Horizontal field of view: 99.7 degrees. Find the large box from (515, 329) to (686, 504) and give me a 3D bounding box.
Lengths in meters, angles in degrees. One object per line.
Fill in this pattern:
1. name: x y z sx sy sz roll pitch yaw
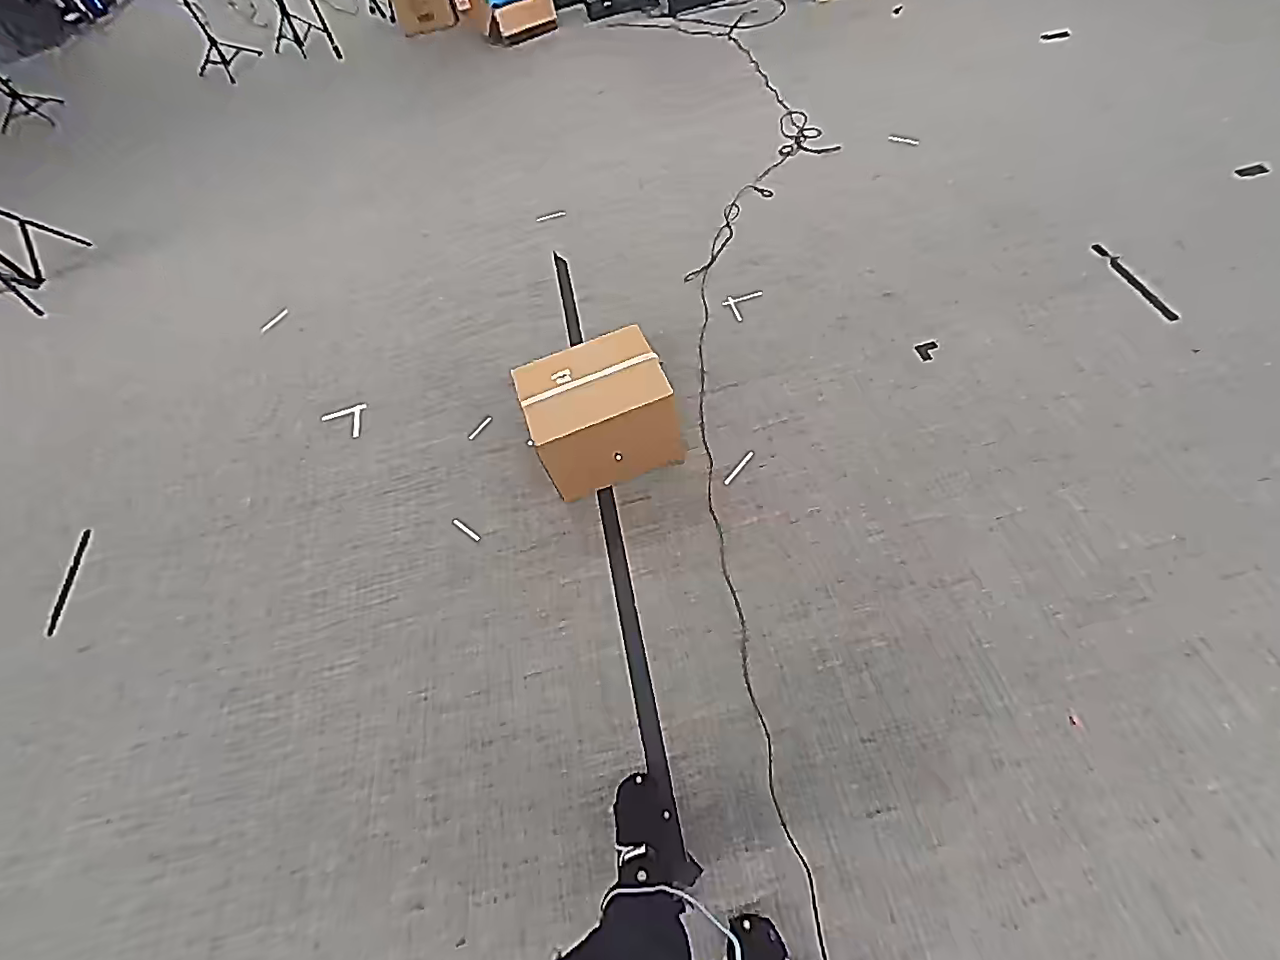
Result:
1. large box: -0.110 -0.186 1.645 0.408 0.320 0.320 -22 55 -2
